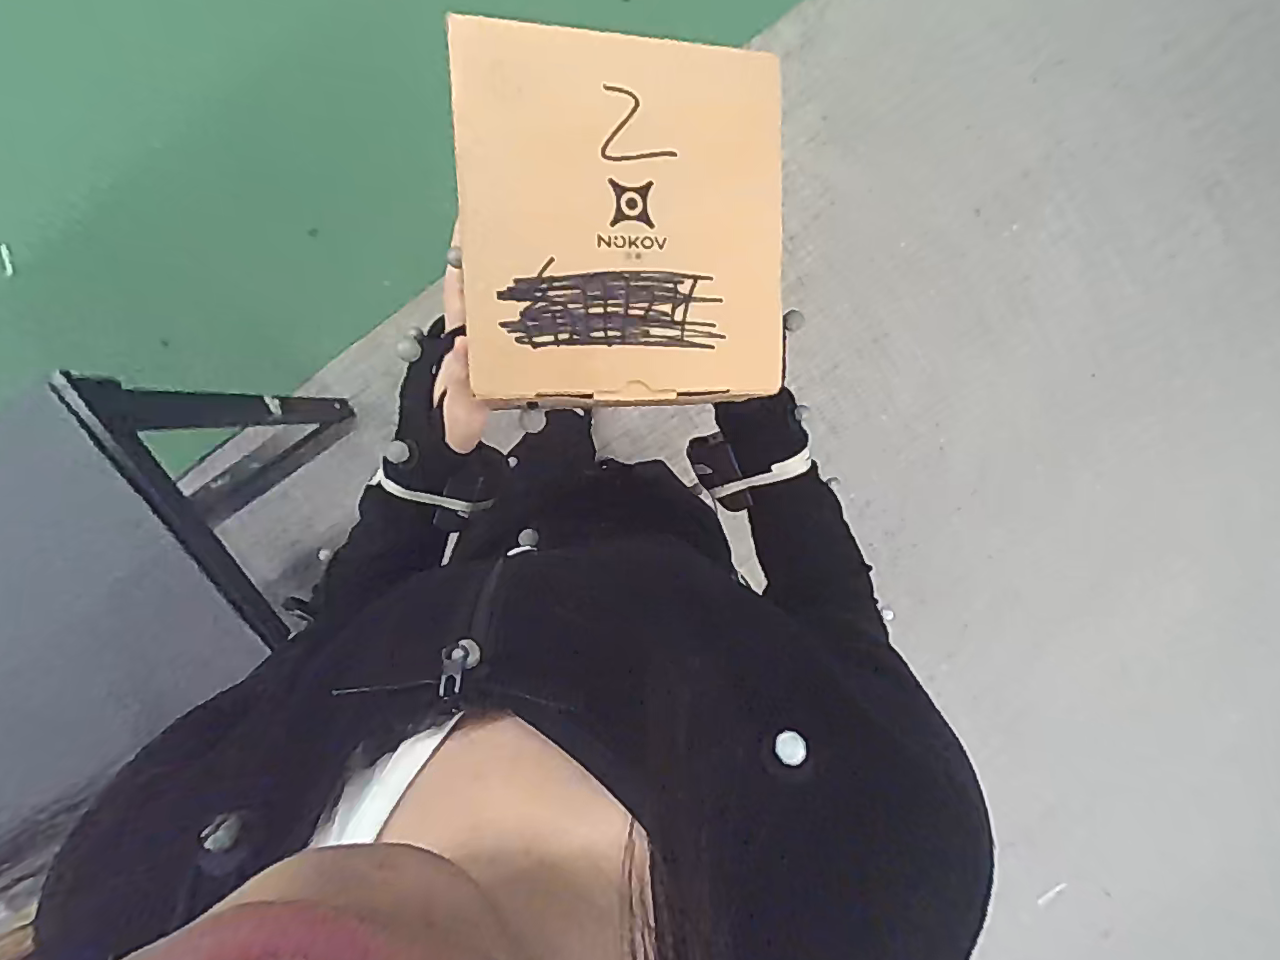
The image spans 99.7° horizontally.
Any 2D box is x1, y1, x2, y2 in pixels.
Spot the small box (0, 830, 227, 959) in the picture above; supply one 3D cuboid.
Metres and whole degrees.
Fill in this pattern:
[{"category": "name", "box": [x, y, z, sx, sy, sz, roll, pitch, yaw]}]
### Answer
[{"category": "small box", "box": [-0.597, 0.523, 0.562, 0.179, 0.176, 0.168, -35, 95, 4]}]
